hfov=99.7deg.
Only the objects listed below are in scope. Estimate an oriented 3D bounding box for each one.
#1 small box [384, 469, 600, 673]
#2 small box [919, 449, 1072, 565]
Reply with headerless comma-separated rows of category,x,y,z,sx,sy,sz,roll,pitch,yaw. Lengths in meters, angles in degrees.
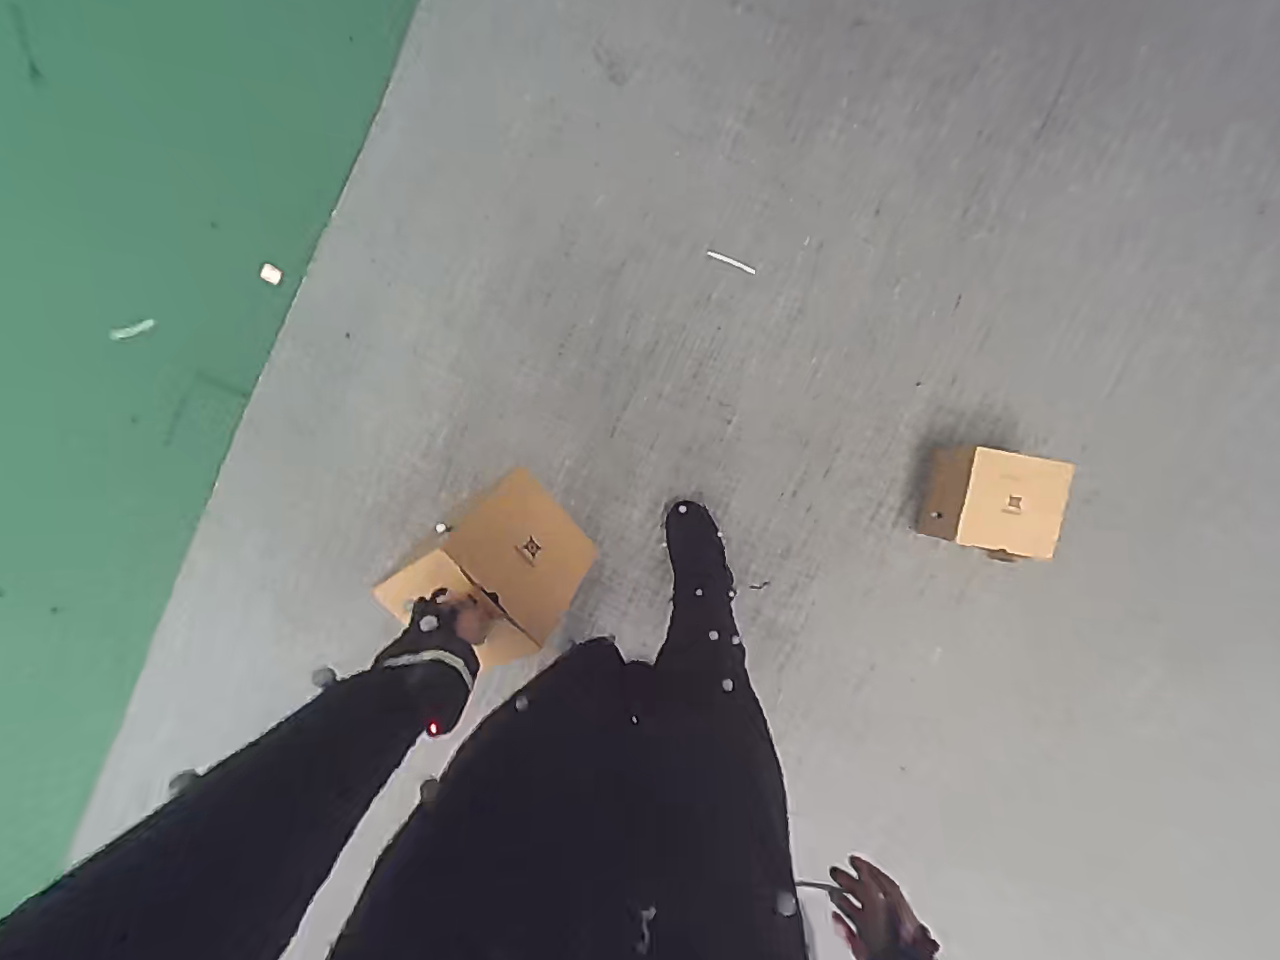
small box,-0.188,0.119,0.700,0.176,0.179,0.168,-28,108,34
small box,0.647,0.046,1.008,0.168,0.176,0.179,11,91,4
